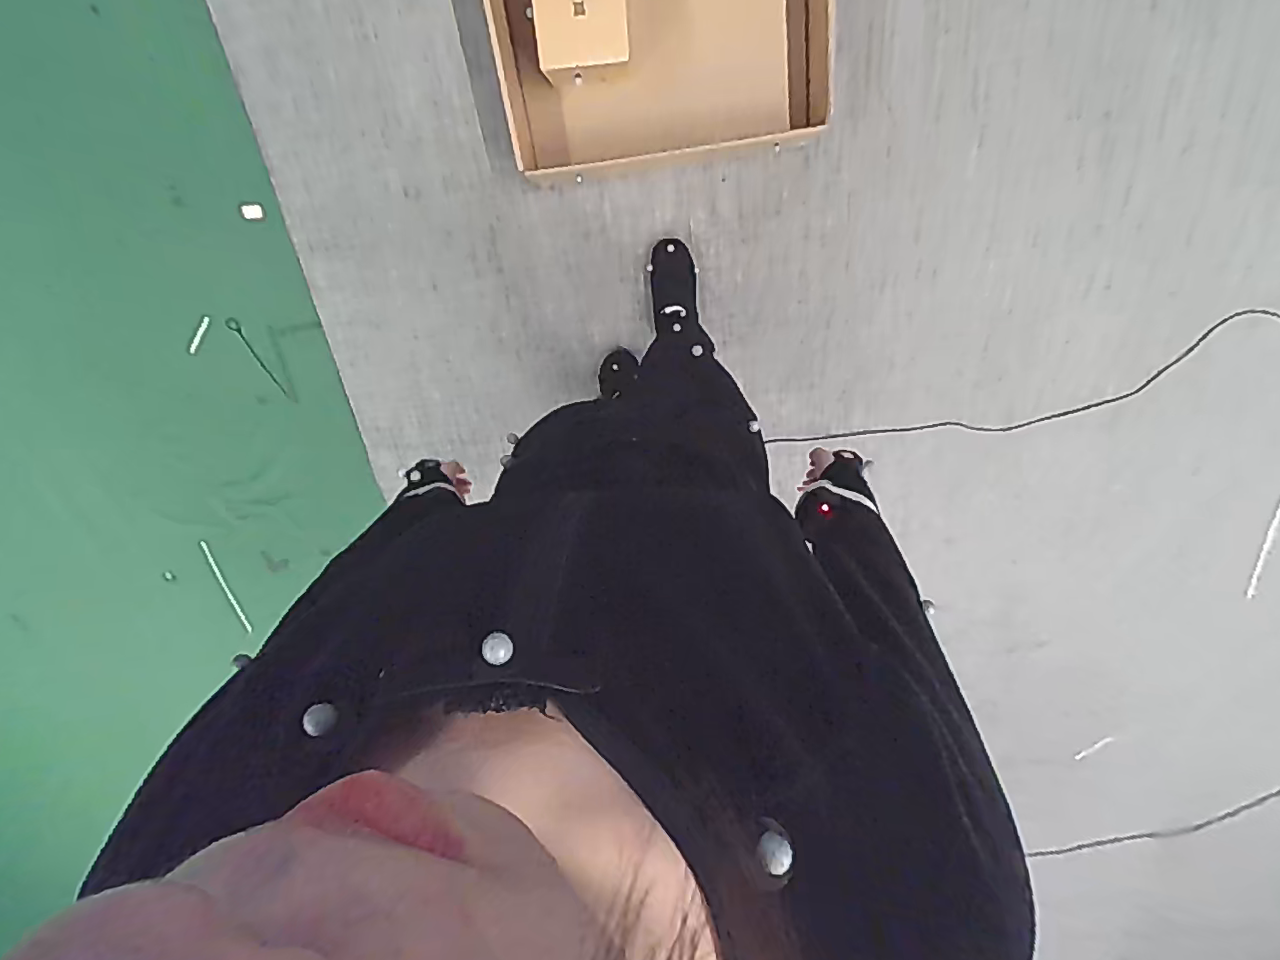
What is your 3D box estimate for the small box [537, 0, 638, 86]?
[{"bbox_3d":[-0.094,-0.861,1.014,0.168,0.176,0.179,-2,115,4],"label":"small box"}]
